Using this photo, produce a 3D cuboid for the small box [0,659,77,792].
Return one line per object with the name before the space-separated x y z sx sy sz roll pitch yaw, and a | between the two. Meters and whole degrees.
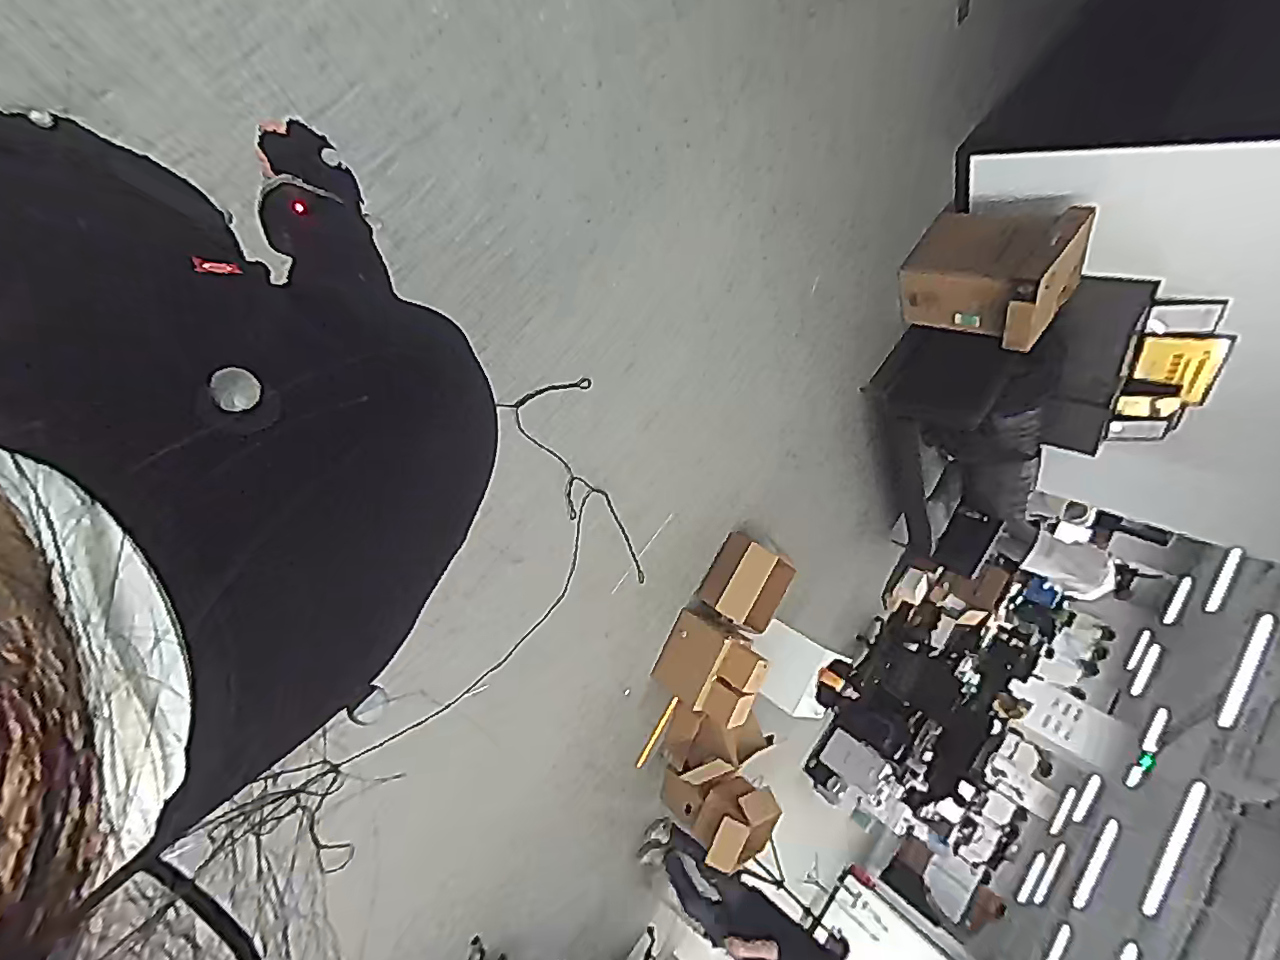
small box | -1.279 0.477 1.067 0.179 0.176 0.168 -54 139 -10
